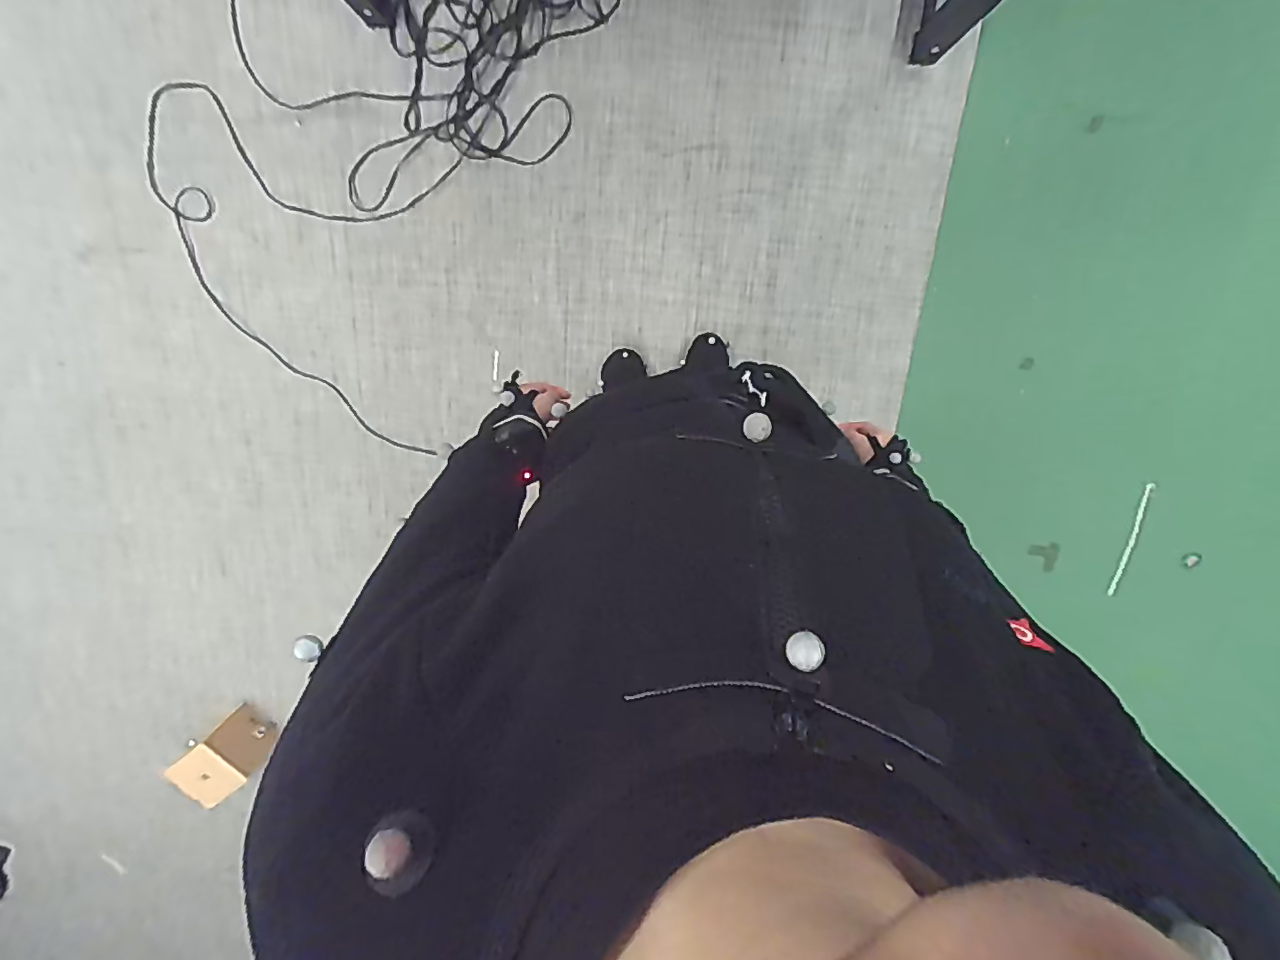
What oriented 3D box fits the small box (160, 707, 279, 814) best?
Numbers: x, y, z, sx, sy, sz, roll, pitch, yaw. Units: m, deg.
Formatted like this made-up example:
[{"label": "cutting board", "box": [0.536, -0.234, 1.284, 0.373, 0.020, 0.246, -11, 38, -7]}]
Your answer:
[{"label": "small box", "box": [-1.195, 0.800, 1.553, 0.179, 0.176, 0.168, -38, 103, 11]}]
